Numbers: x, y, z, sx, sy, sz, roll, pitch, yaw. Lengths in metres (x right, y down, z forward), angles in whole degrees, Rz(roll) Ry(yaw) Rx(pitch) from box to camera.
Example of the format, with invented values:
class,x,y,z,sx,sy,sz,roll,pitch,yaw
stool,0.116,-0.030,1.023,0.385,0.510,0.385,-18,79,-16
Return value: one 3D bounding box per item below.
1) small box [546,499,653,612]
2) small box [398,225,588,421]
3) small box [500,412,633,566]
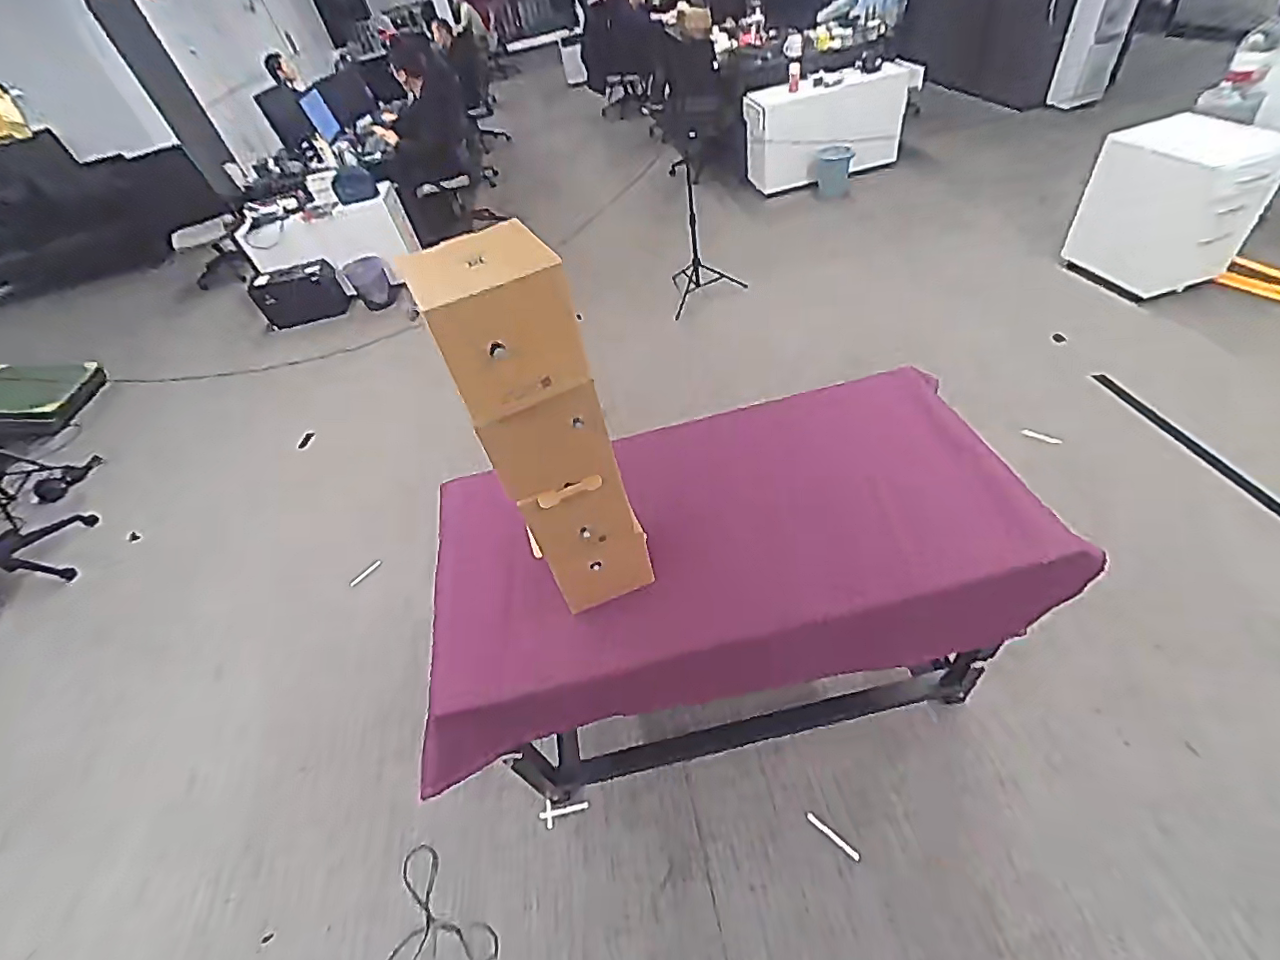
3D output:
class,x,y,z,sx,sy,sz,roll,pitch,yaw
small box,-0.090,0.129,1.055,0.179,0.176,0.168,-20,46,-8
small box,-0.183,-0.198,0.699,0.168,0.176,0.179,-26,46,-13
small box,-0.126,0.016,0.941,0.168,0.176,0.179,-22,46,-8
